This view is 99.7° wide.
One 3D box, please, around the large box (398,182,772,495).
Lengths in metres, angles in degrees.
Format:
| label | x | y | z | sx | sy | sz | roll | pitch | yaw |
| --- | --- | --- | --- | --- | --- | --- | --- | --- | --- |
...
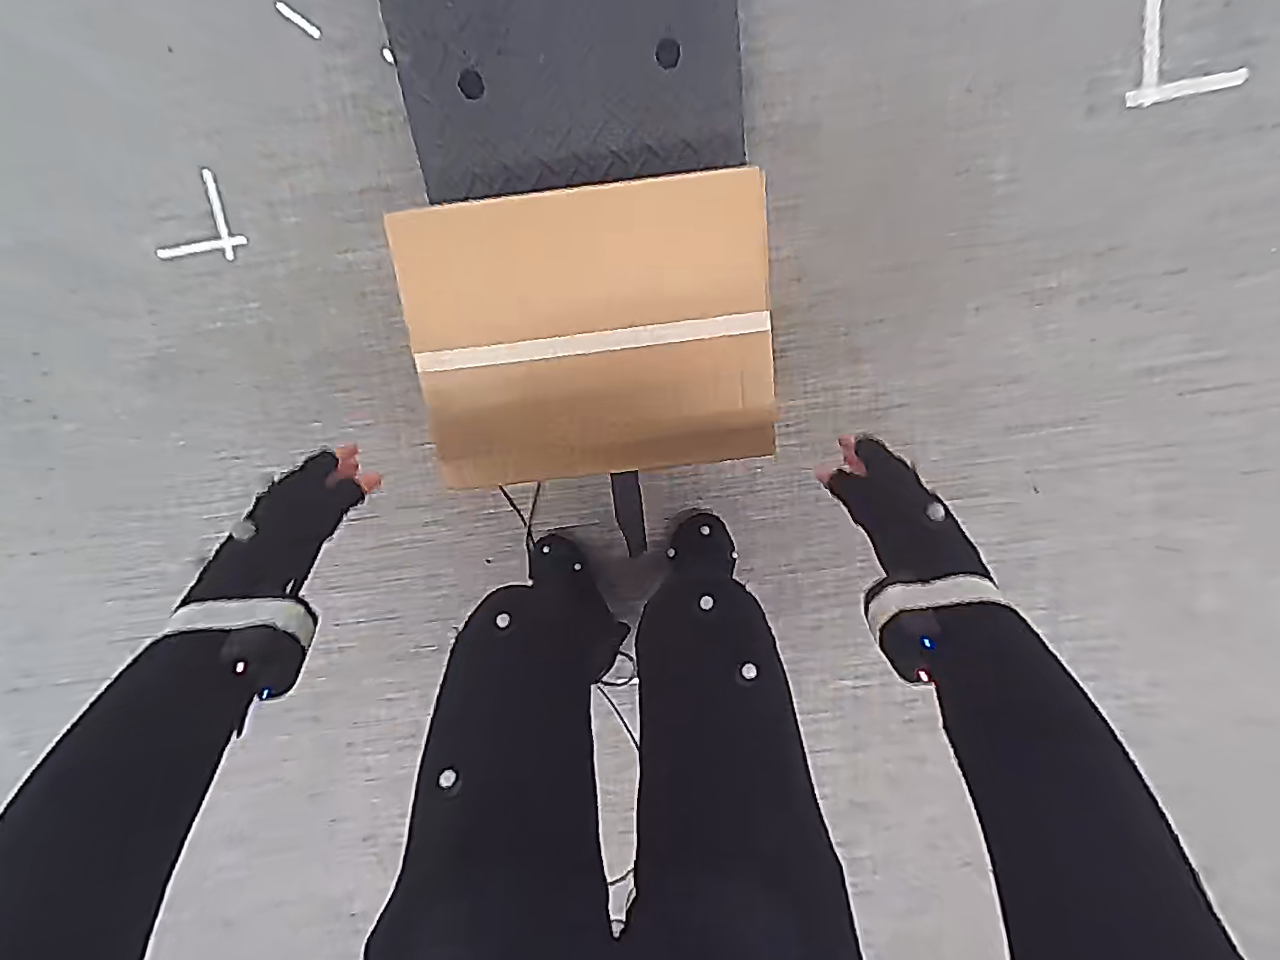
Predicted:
| label | x | y | z | sx | sy | sz | roll | pitch | yaw |
| --- | --- | --- | --- | --- | --- | --- | --- | --- | --- |
| large box | -0.051 | -0.193 | 0.770 | 0.408 | 0.320 | 0.320 | -6 | 106 | 2 |

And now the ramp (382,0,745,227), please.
| label | x | y | z | sx | sy | sz | roll | pitch | yaw |
| --- | --- | --- | --- | --- | --- | --- | --- | --- | --- |
| ramp | -0.126 | -0.776 | 0.710 | 0.509 | 0.206 | 0.991 | -9 | 102 | 2 |
